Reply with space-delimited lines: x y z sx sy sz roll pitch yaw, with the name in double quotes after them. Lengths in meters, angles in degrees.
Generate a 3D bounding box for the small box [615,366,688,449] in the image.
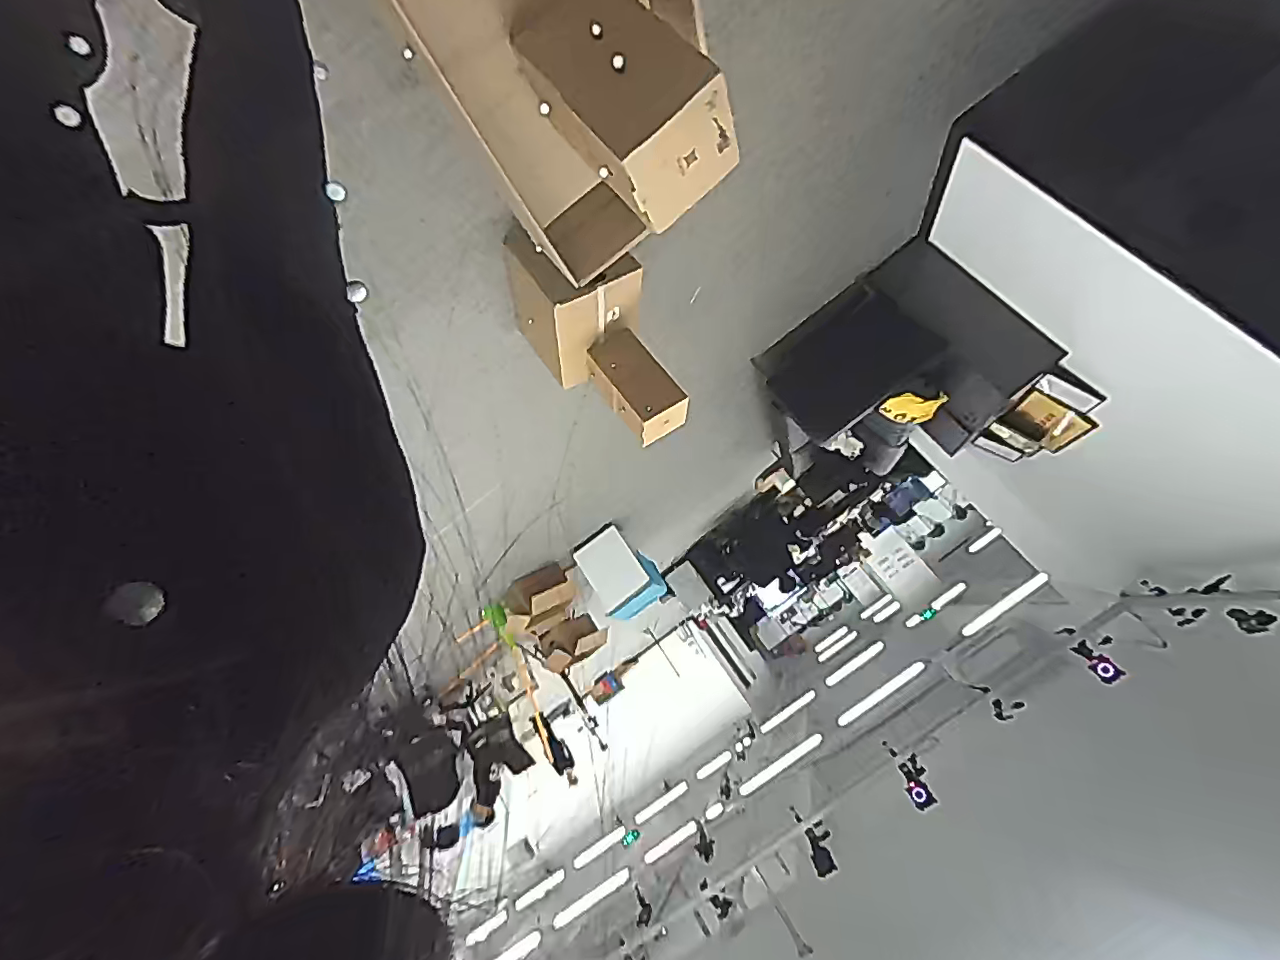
0.035 -0.241 1.779 0.179 0.176 0.168 -32 159 -14 "small box"

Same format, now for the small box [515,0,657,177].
-0.068 -0.652 0.878 0.179 0.176 0.168 -38 159 5 "small box"

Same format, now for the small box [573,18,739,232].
0.021 -0.529 0.818 0.179 0.176 0.168 -38 160 7 "small box"
